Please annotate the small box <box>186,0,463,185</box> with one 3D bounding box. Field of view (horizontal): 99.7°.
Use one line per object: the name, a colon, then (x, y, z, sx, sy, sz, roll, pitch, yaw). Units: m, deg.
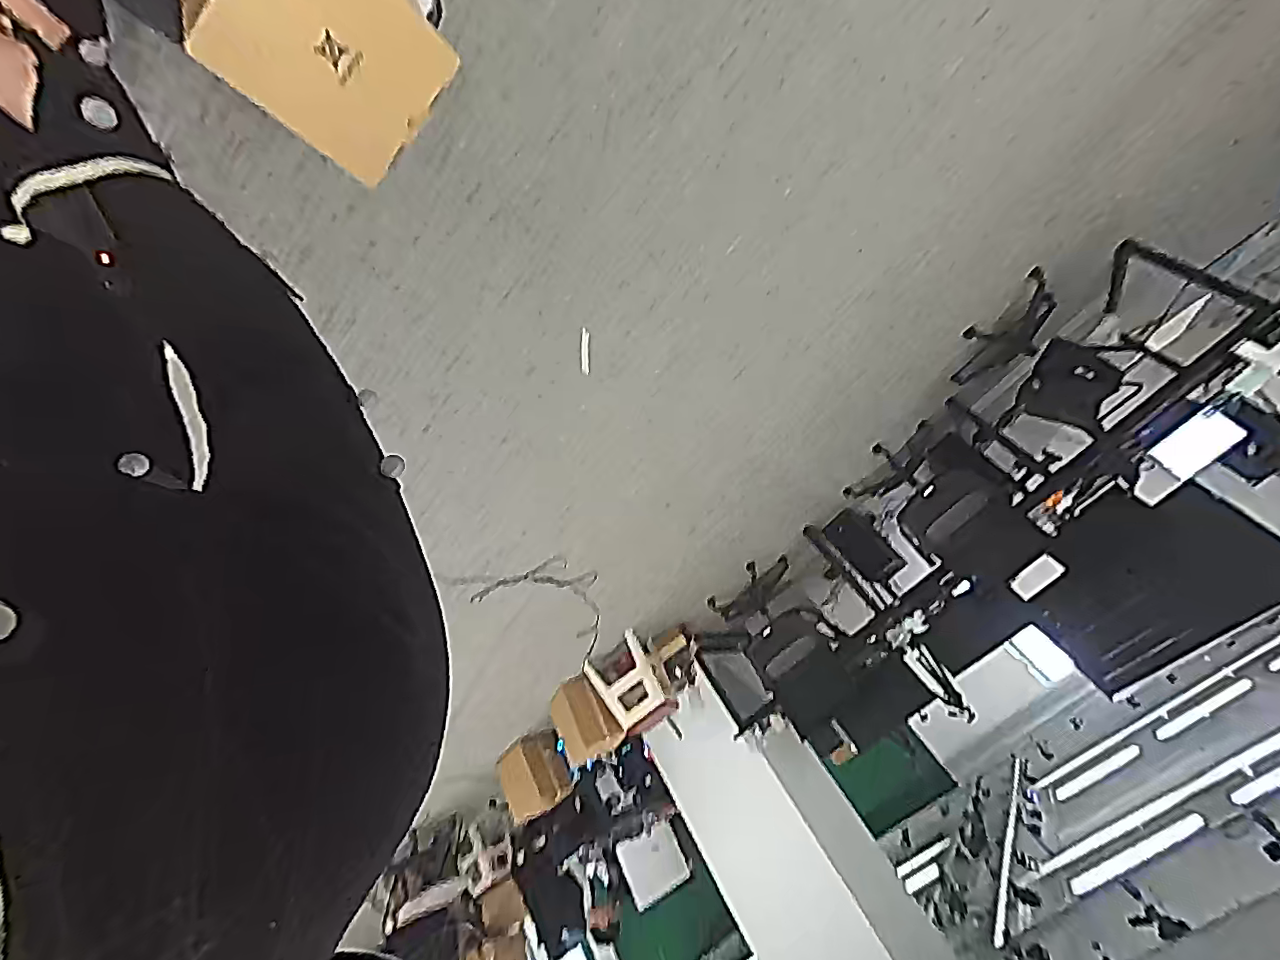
small box: (-0.321, -0.452, 0.549, 0.168, 0.176, 0.179, -44, 147, 13)
